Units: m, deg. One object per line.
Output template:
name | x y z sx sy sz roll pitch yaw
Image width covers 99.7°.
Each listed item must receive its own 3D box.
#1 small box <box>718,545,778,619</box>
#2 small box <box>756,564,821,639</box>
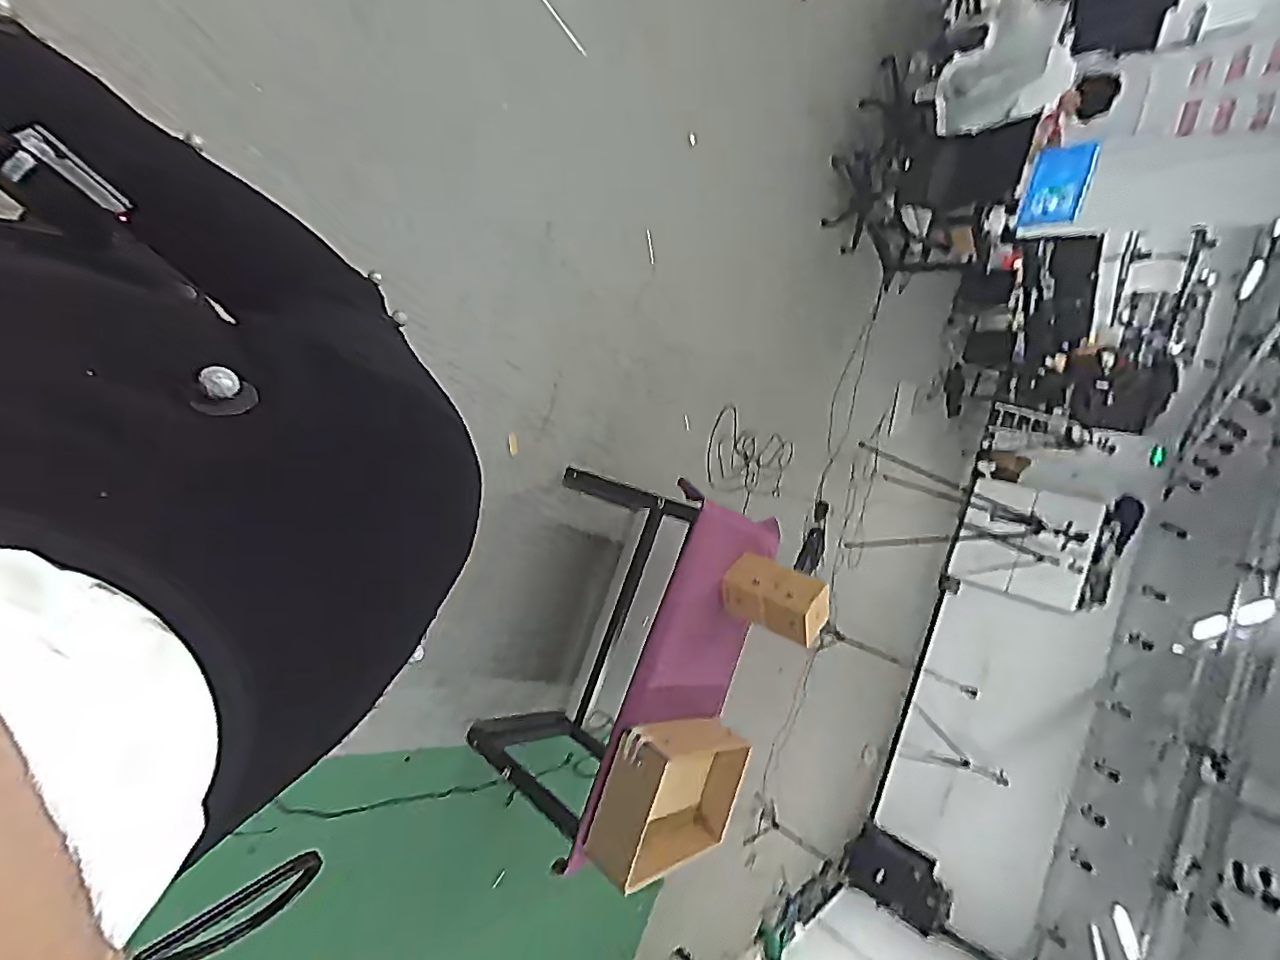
small box | 0.398 0.371 1.995 0.179 0.176 0.168 -39 131 -35
small box | 0.520 0.415 1.897 0.168 0.176 0.179 -38 130 -34
